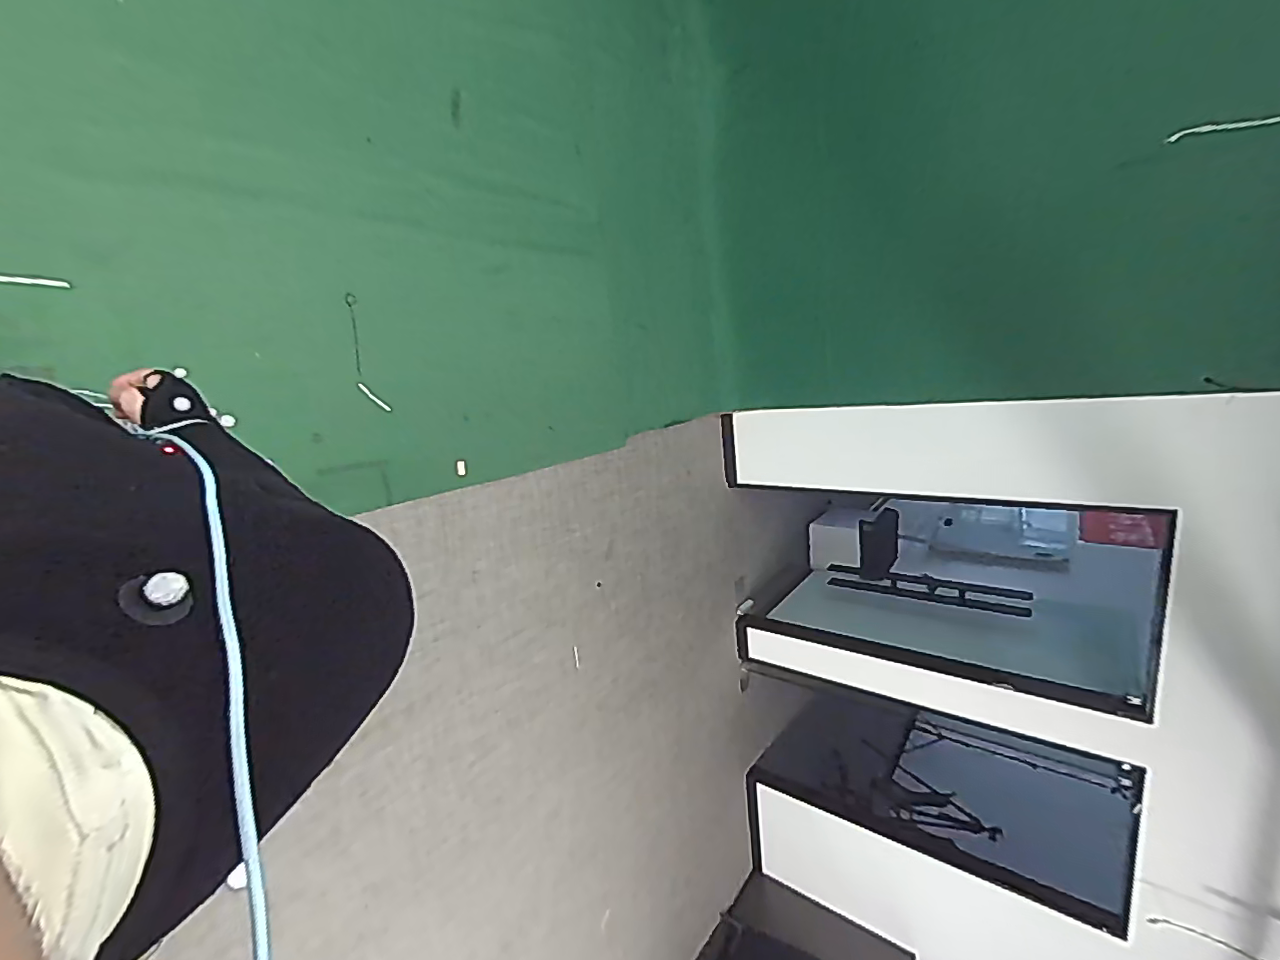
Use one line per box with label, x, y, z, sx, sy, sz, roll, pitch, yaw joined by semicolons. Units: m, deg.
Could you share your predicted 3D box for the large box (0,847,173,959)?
large box;-1.201;1.052;1.057;0.408;0.320;0.320;-23;110;-49
